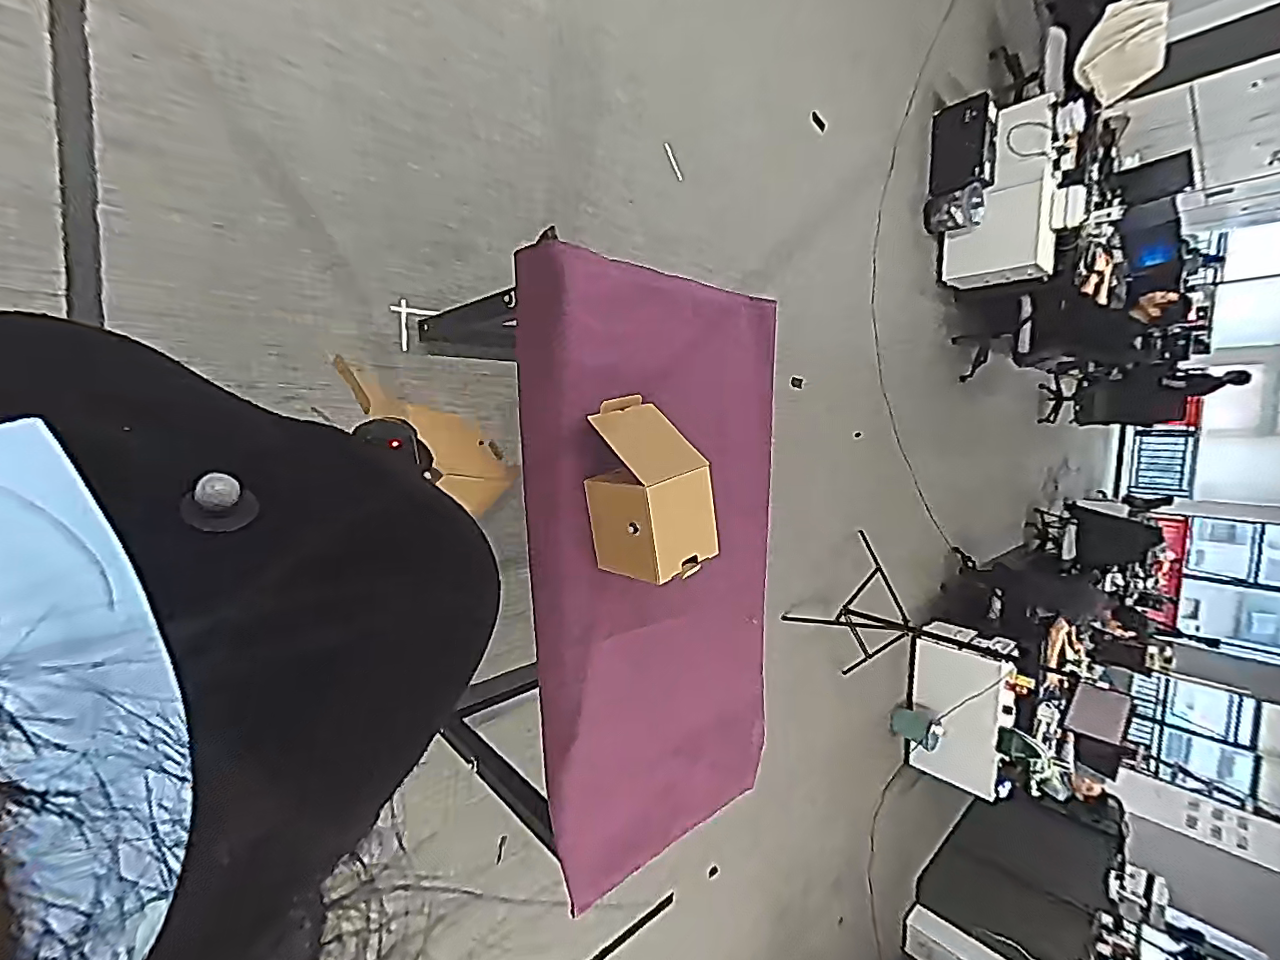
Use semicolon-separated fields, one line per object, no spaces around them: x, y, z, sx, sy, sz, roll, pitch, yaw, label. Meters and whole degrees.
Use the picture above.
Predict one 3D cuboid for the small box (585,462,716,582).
0.016;0.066;0.995;0.168;0.176;0.179;-18;106;-40;small box
